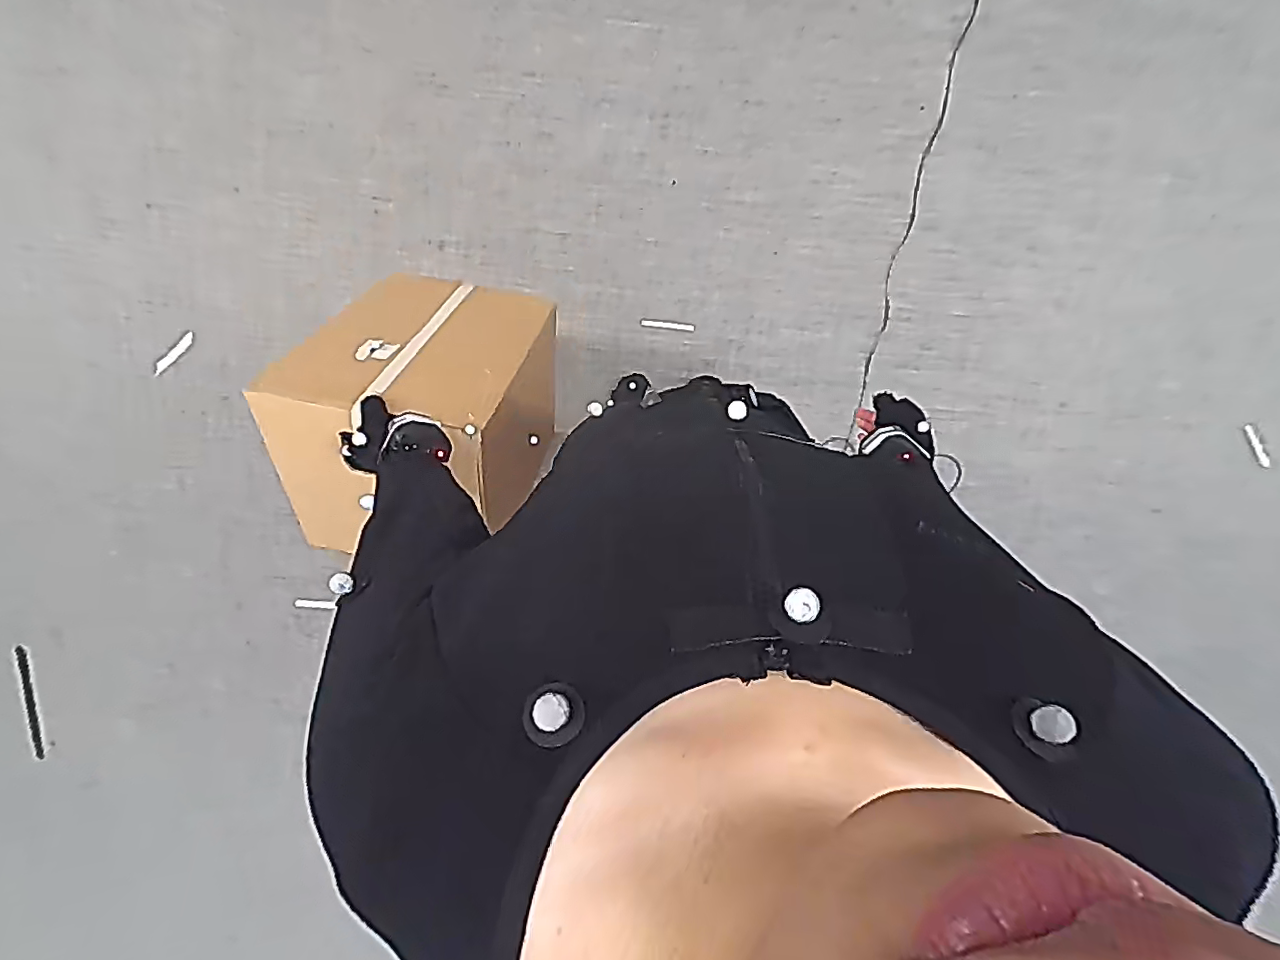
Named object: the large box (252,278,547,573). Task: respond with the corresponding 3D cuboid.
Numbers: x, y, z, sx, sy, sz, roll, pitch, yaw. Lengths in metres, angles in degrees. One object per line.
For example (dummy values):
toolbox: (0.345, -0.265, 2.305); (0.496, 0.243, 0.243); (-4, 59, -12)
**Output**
large box: (-0.357, -0.105, 0.952); (0.320, 0.408, 0.320); (9, 134, 2)
